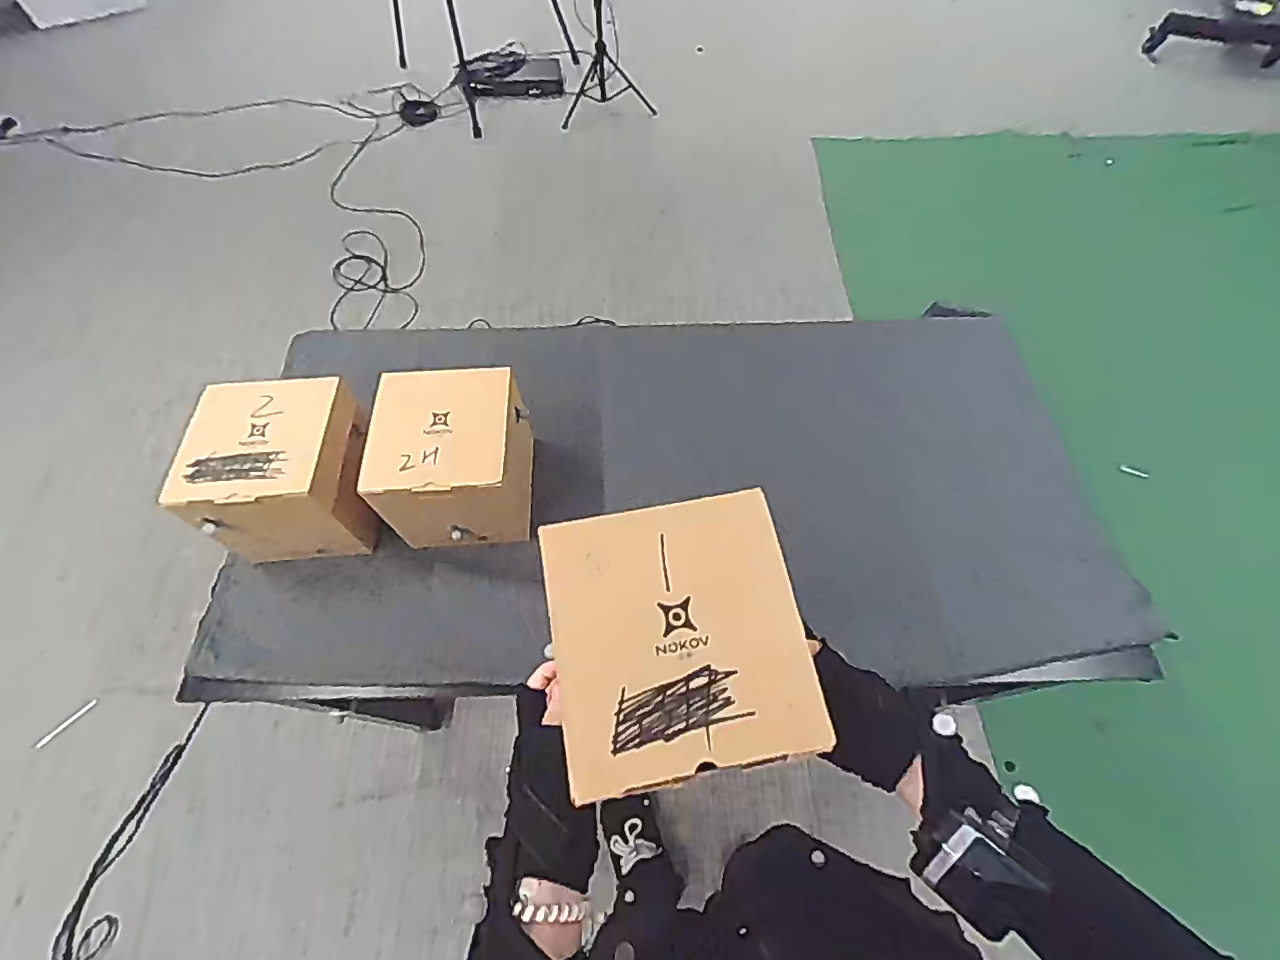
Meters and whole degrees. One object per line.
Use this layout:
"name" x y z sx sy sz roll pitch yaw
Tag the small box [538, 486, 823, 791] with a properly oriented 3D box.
"small box" 0.020 0.124 0.432 0.168 0.176 0.179 -9 68 -5
